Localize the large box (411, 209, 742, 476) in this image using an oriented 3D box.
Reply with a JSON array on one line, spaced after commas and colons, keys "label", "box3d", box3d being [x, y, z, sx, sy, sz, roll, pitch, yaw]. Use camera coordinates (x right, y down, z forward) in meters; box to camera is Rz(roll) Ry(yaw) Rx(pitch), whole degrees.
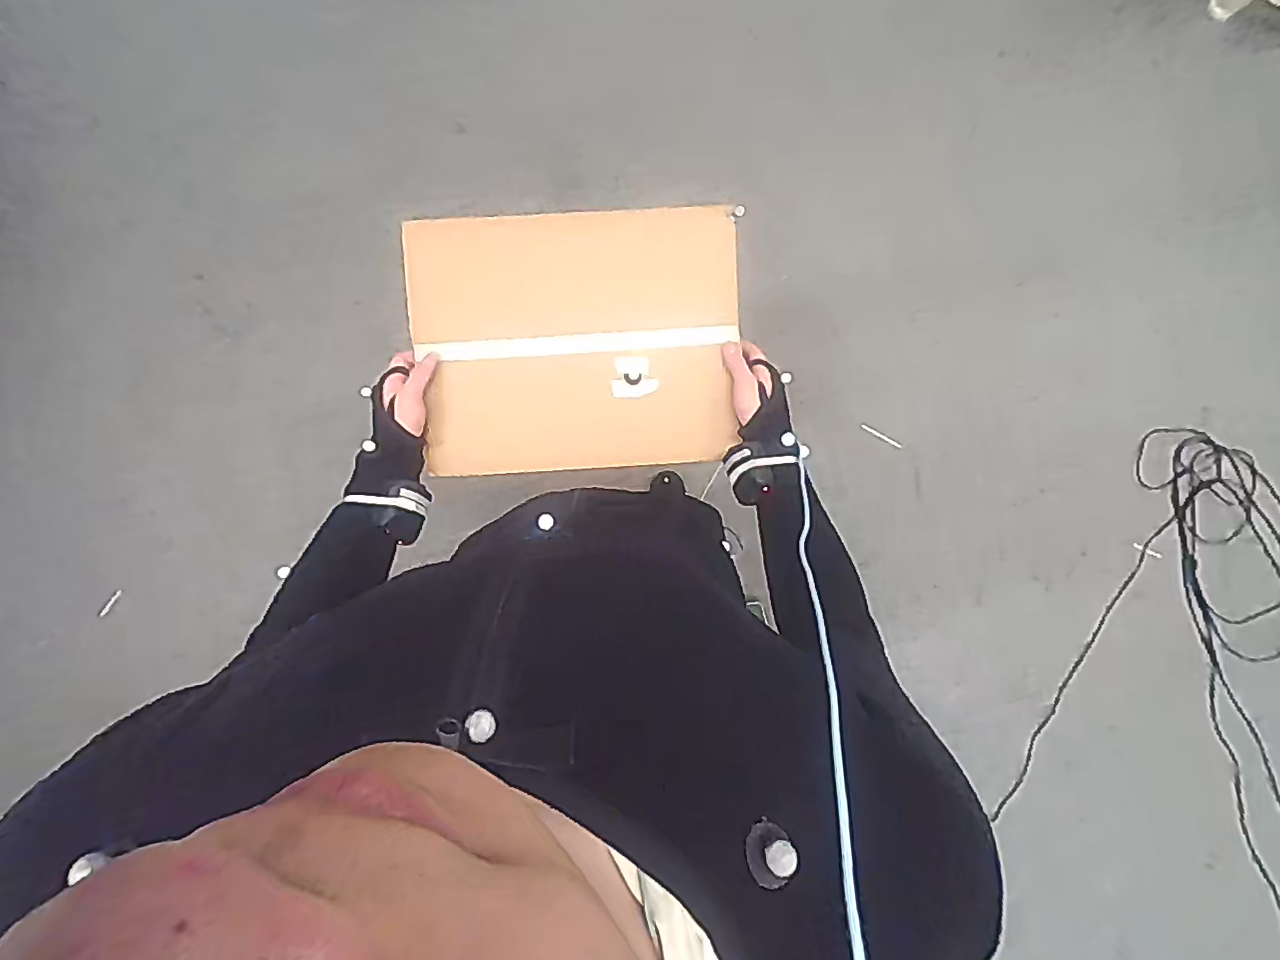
[{"label": "large box", "box3d": [-0.082, -0.186, 0.833, 0.408, 0.320, 0.320, -4, 96, -2]}]
